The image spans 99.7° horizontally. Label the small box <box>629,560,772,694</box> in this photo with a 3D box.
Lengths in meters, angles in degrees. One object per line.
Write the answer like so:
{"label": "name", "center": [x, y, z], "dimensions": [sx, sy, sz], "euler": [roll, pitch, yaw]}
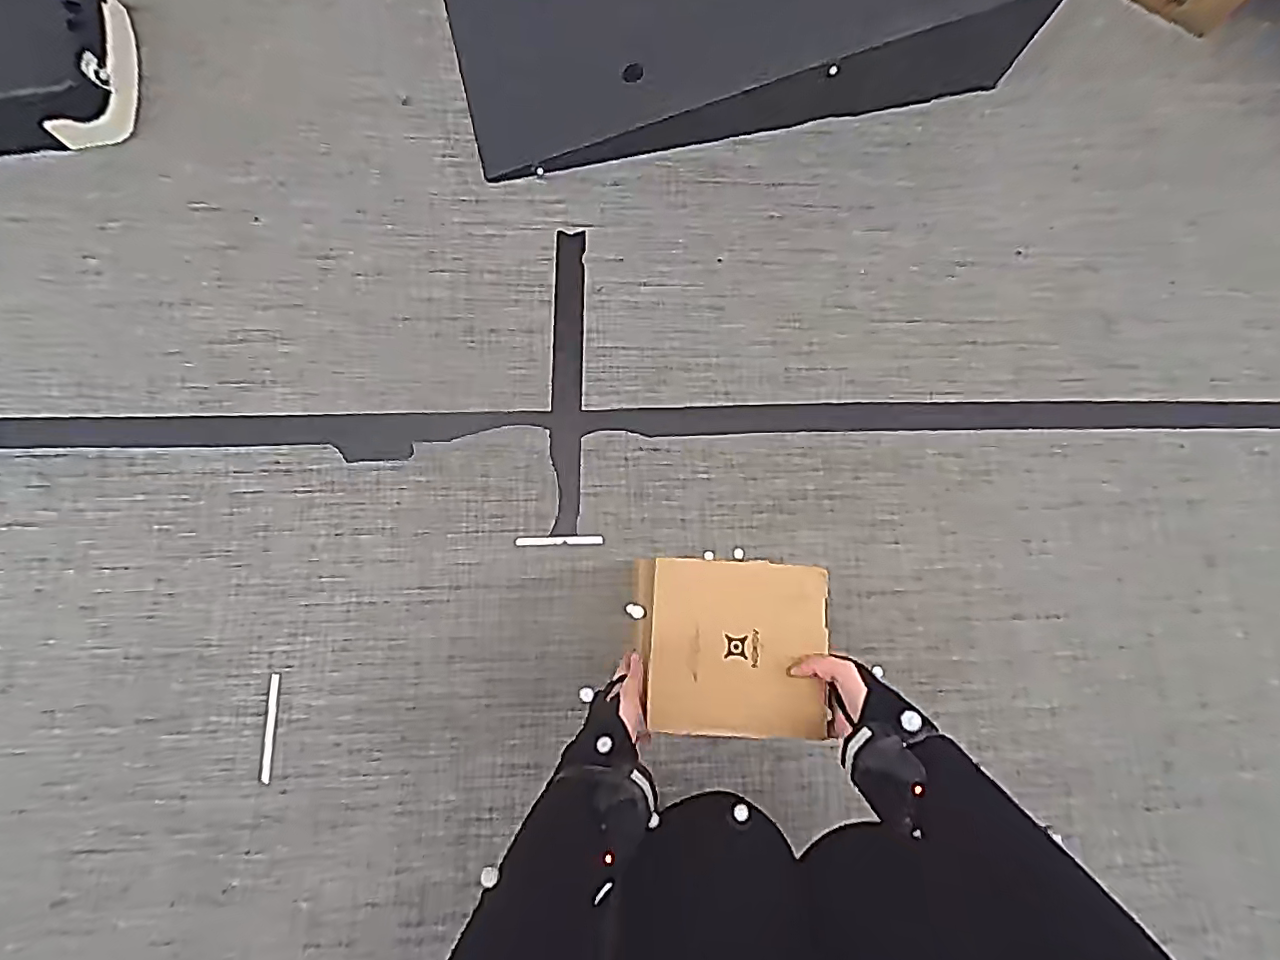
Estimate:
{"label": "small box", "center": [0.079, 0.197, 0.750], "dimensions": [0.179, 0.176, 0.168], "euler": [1, 81, -4]}

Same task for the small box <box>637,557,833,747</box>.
{"label": "small box", "center": [0.092, 0.173, 0.588], "dimensions": [0.179, 0.176, 0.168], "euler": [4, 80, -1]}
